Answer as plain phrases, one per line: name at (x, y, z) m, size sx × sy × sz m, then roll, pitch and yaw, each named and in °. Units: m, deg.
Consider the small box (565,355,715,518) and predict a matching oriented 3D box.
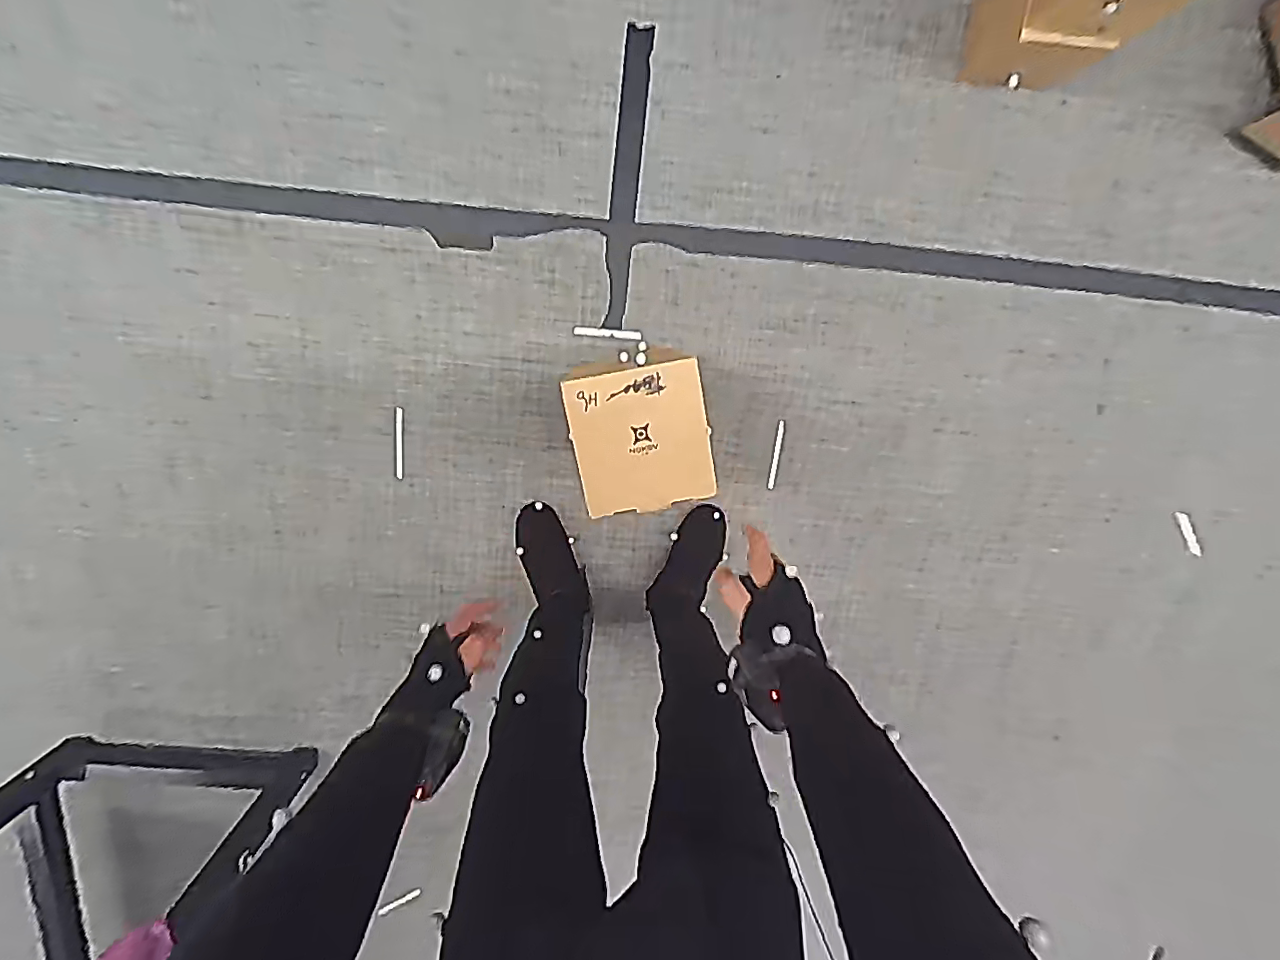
small box at (0.001, -0.068, 0.742) m, size 0.168 × 0.176 × 0.179 m, roll -10°, pitch 106°, yaw 0°
